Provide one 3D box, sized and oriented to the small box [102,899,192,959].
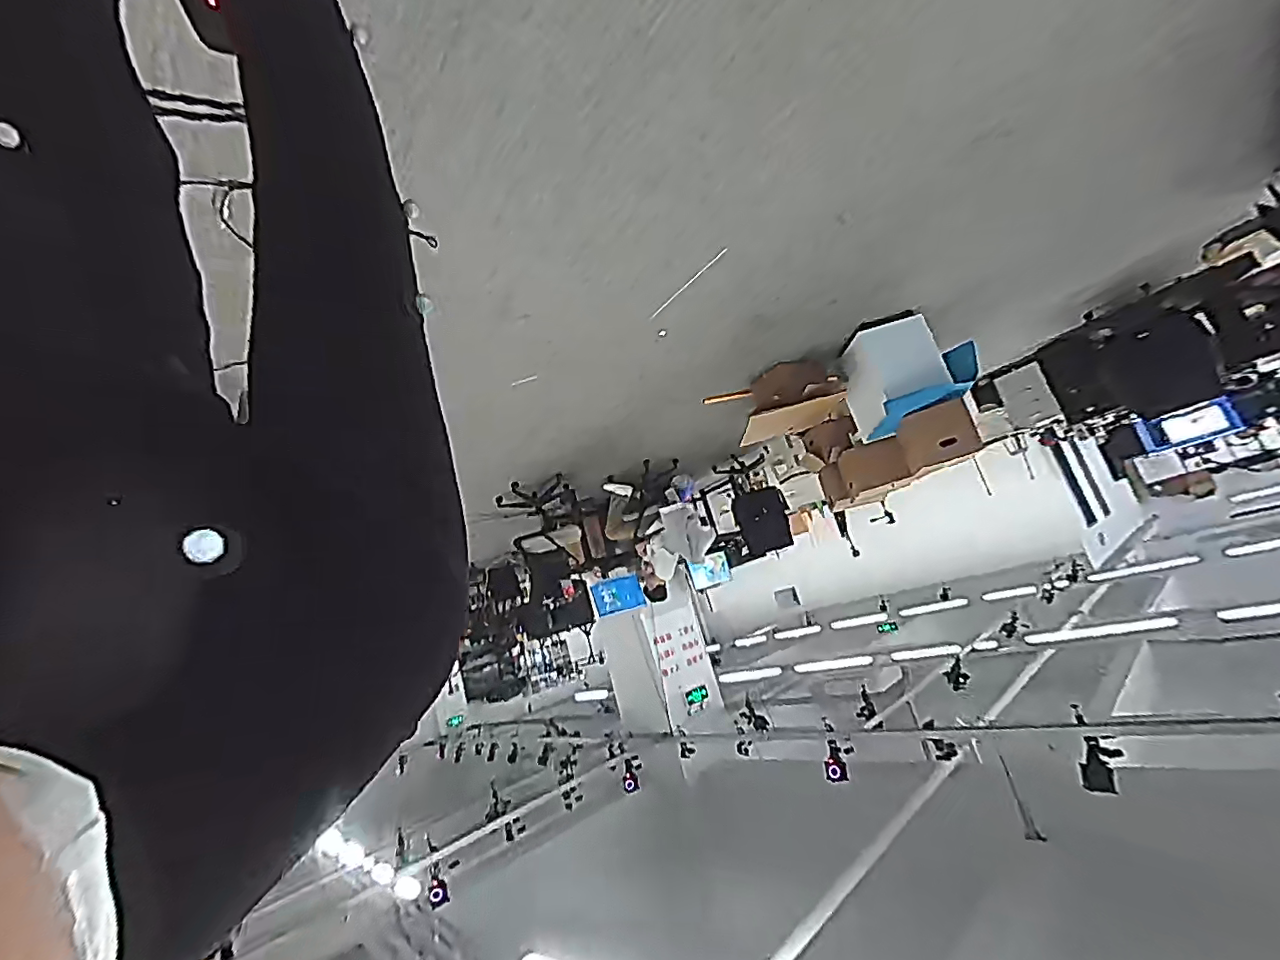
[{"bbox_3d":[-1.390,1.320,1.527,0.179,0.176,0.168,-3,163,-43],"label":"small box"}]
